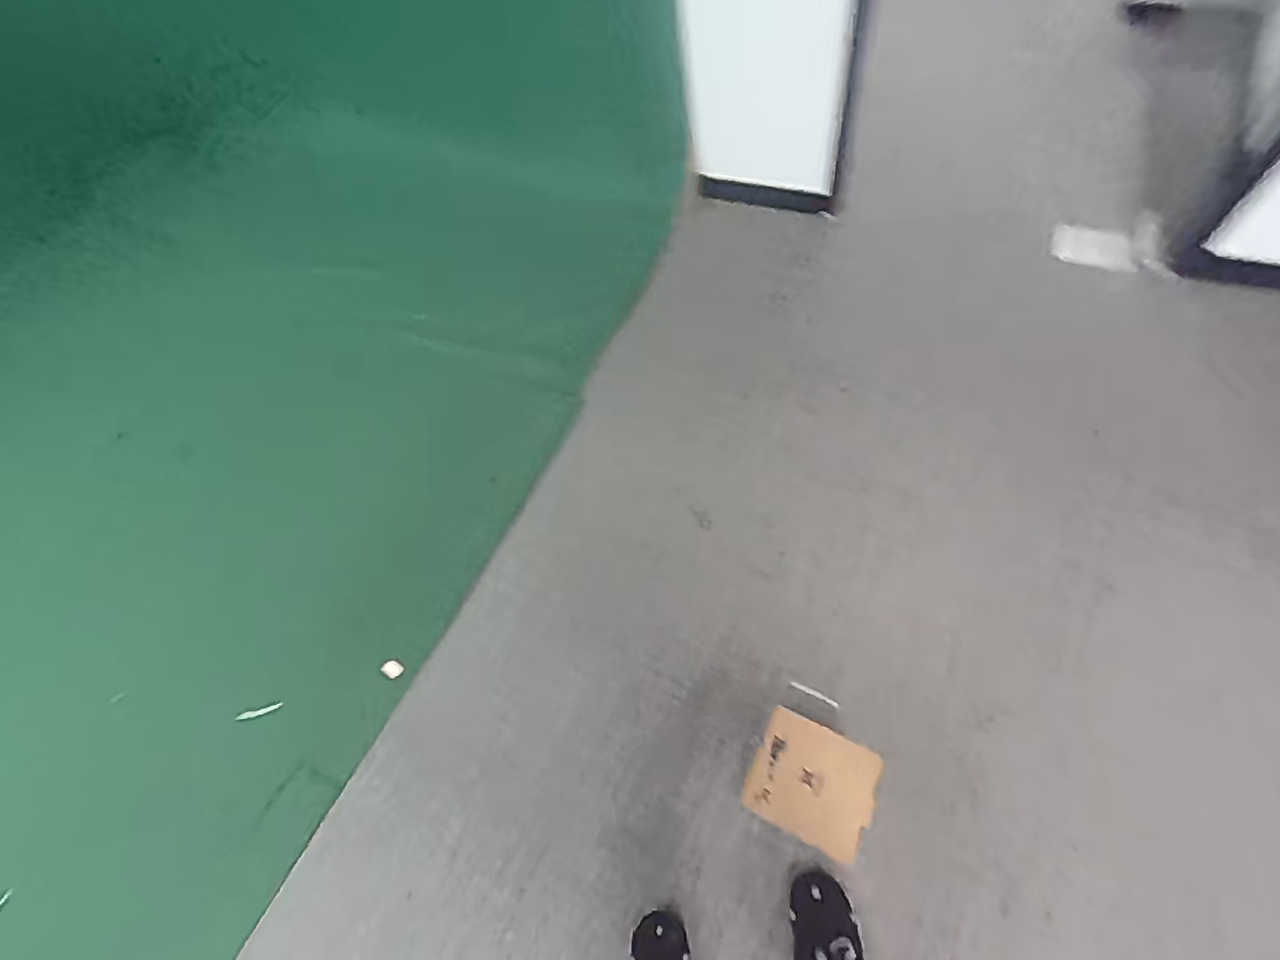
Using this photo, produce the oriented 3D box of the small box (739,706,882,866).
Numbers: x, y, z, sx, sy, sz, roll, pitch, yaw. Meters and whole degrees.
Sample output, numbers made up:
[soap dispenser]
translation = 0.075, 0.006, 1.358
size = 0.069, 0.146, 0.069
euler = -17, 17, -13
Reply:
[small box]
translation = 0.283, 0.508, 0.923
size = 0.179, 0.176, 0.168
euler = 23, 70, 21
